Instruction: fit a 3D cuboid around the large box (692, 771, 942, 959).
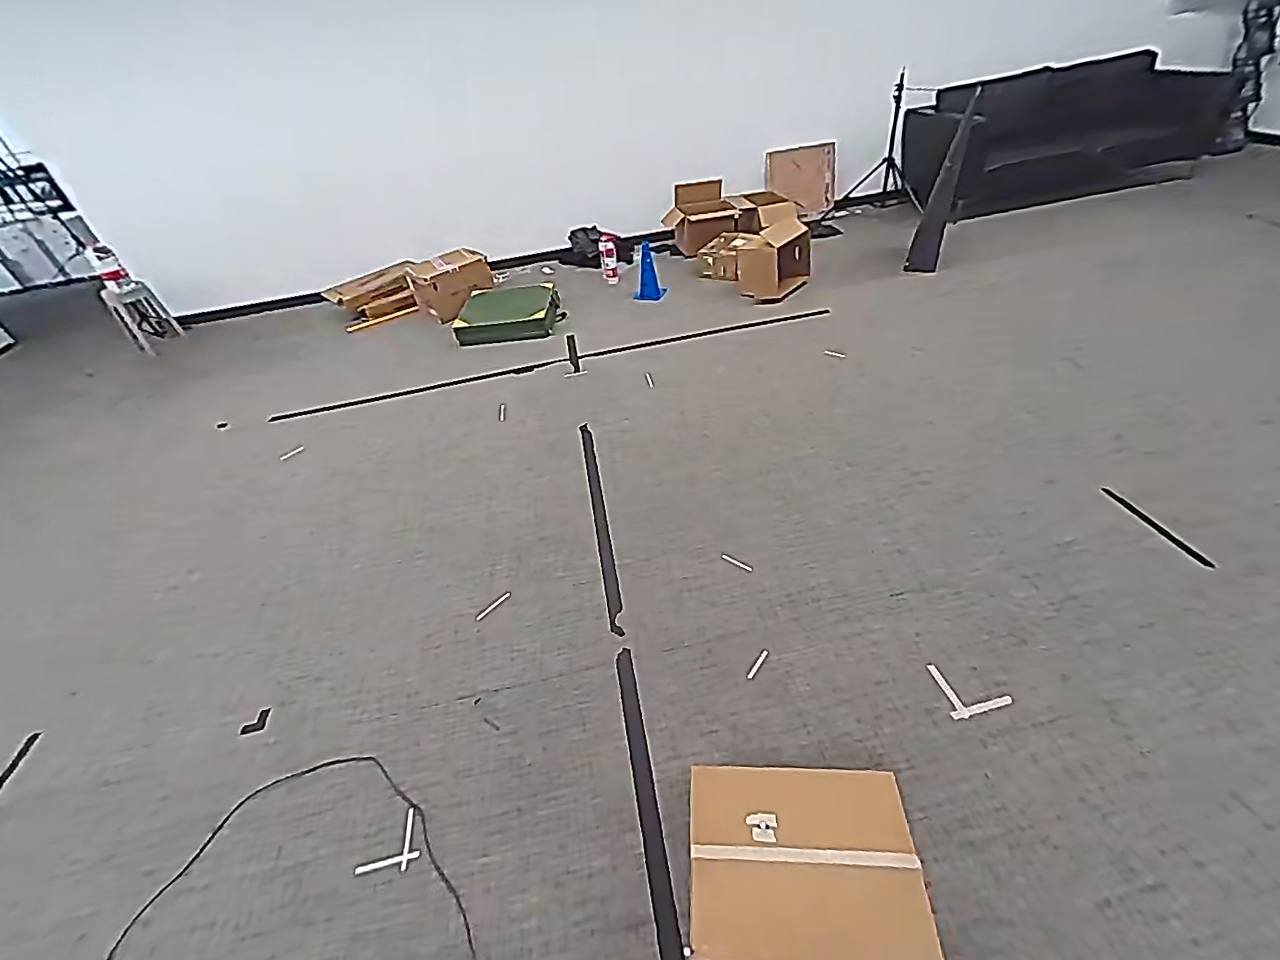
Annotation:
[{"bbox_3d":[0.317,0.810,1.086,0.408,0.320,0.320,-3,39,8],"label":"large box"}]
